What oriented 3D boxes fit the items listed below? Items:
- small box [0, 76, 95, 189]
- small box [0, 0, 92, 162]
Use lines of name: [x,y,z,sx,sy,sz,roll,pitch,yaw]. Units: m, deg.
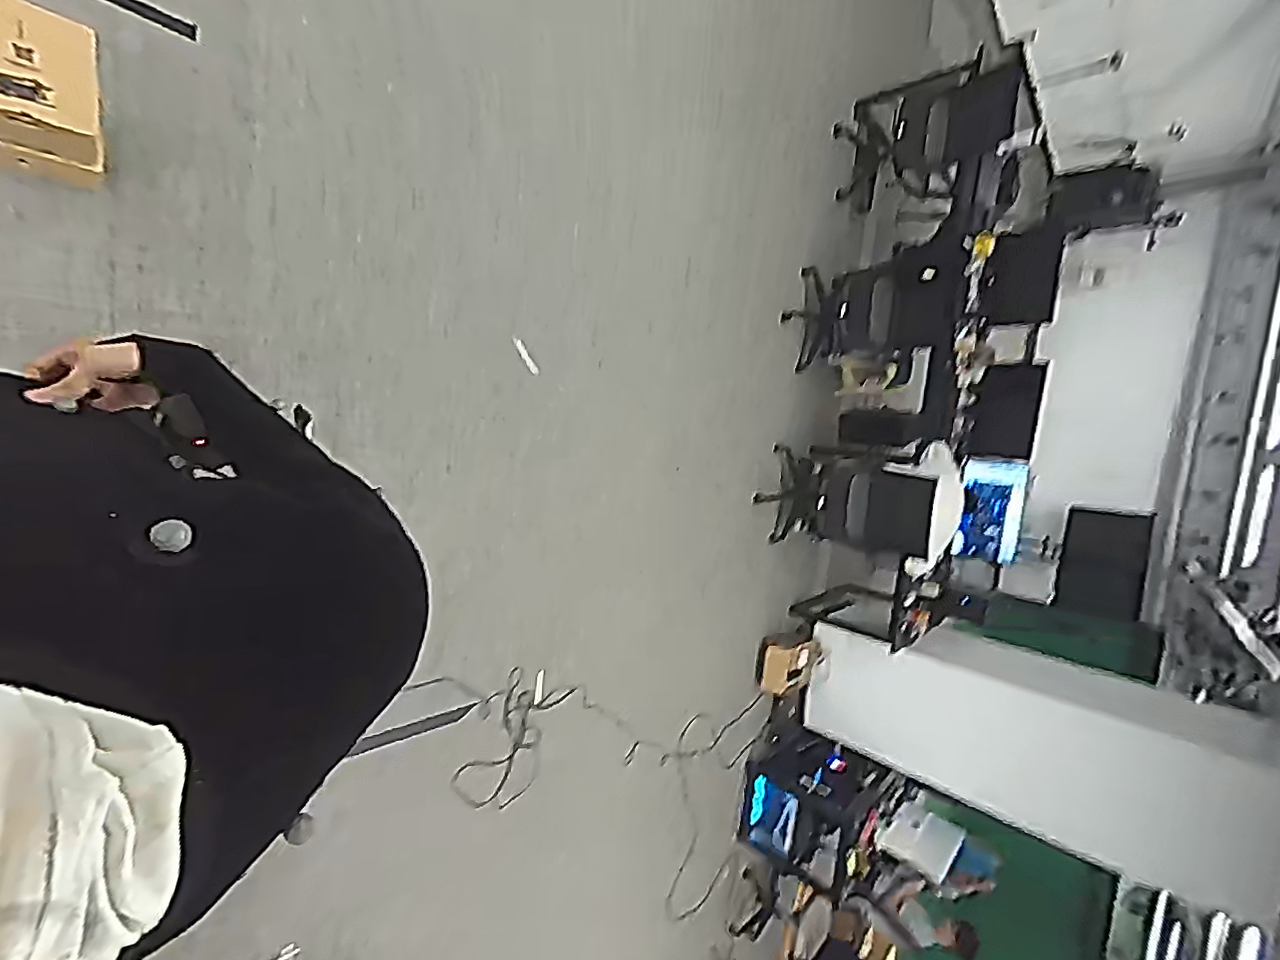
small box: [-1.127,-0.668,0.998,0.168,0.176,0.179,-3,99,-48]
small box: [-1.013,-0.655,0.880,0.168,0.176,0.179,-3,98,-48]
